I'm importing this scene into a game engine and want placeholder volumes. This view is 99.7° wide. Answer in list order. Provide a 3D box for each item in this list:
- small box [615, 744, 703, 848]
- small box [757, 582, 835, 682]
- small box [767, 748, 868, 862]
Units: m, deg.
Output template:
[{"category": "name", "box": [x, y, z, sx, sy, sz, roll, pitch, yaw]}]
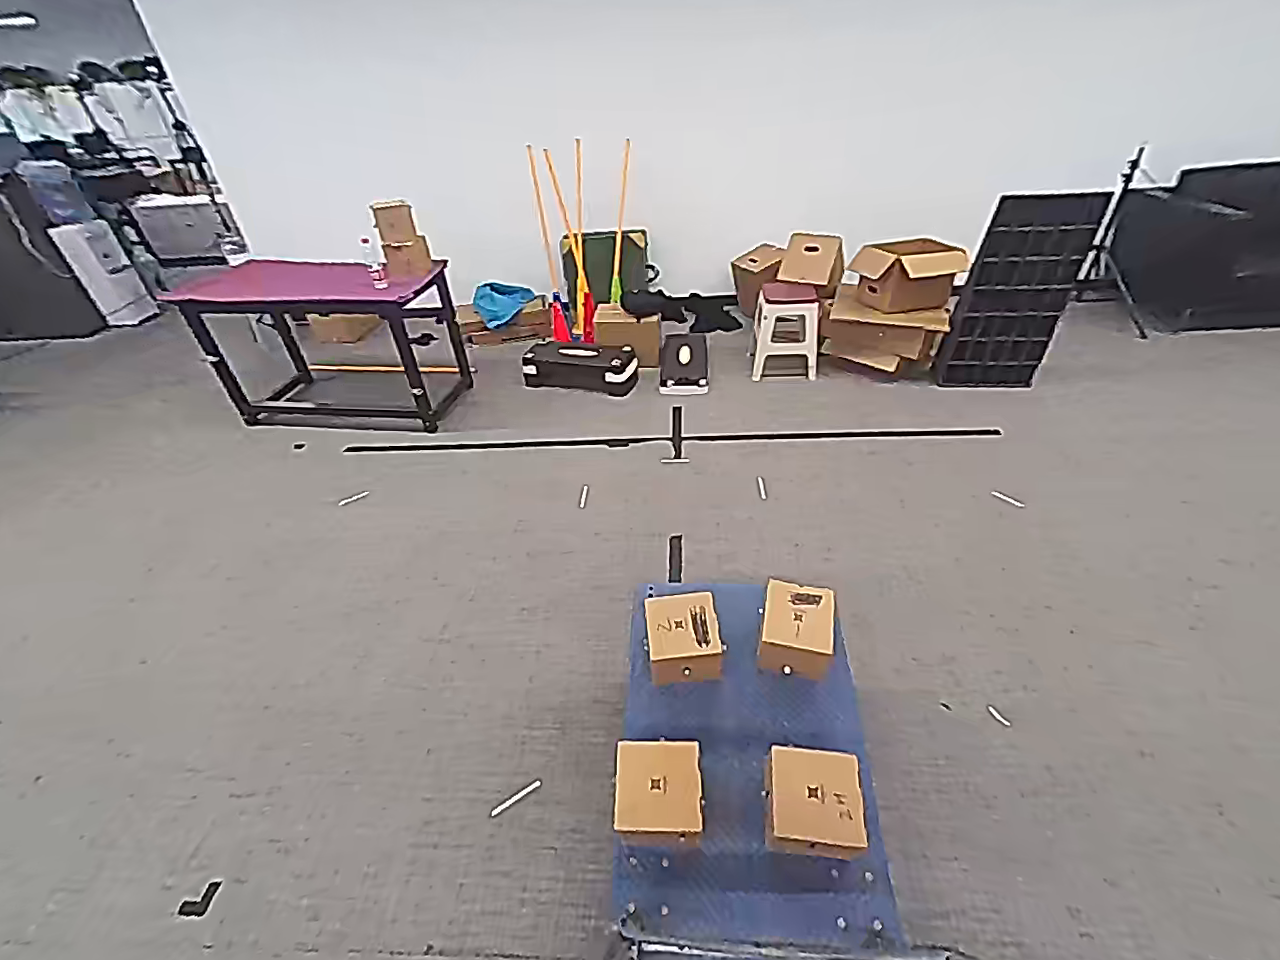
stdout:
[{"category": "small box", "box": [0.043, 0.680, 1.161, 0.179, 0.176, 0.168, -1, 48, 2]}, {"category": "small box", "box": [0.398, 0.390, 1.386, 0.168, 0.176, 0.179, 8, 51, 12]}, {"category": "small box", "box": [0.359, 0.682, 1.130, 0.179, 0.176, 0.168, 3, 49, 8]}]
